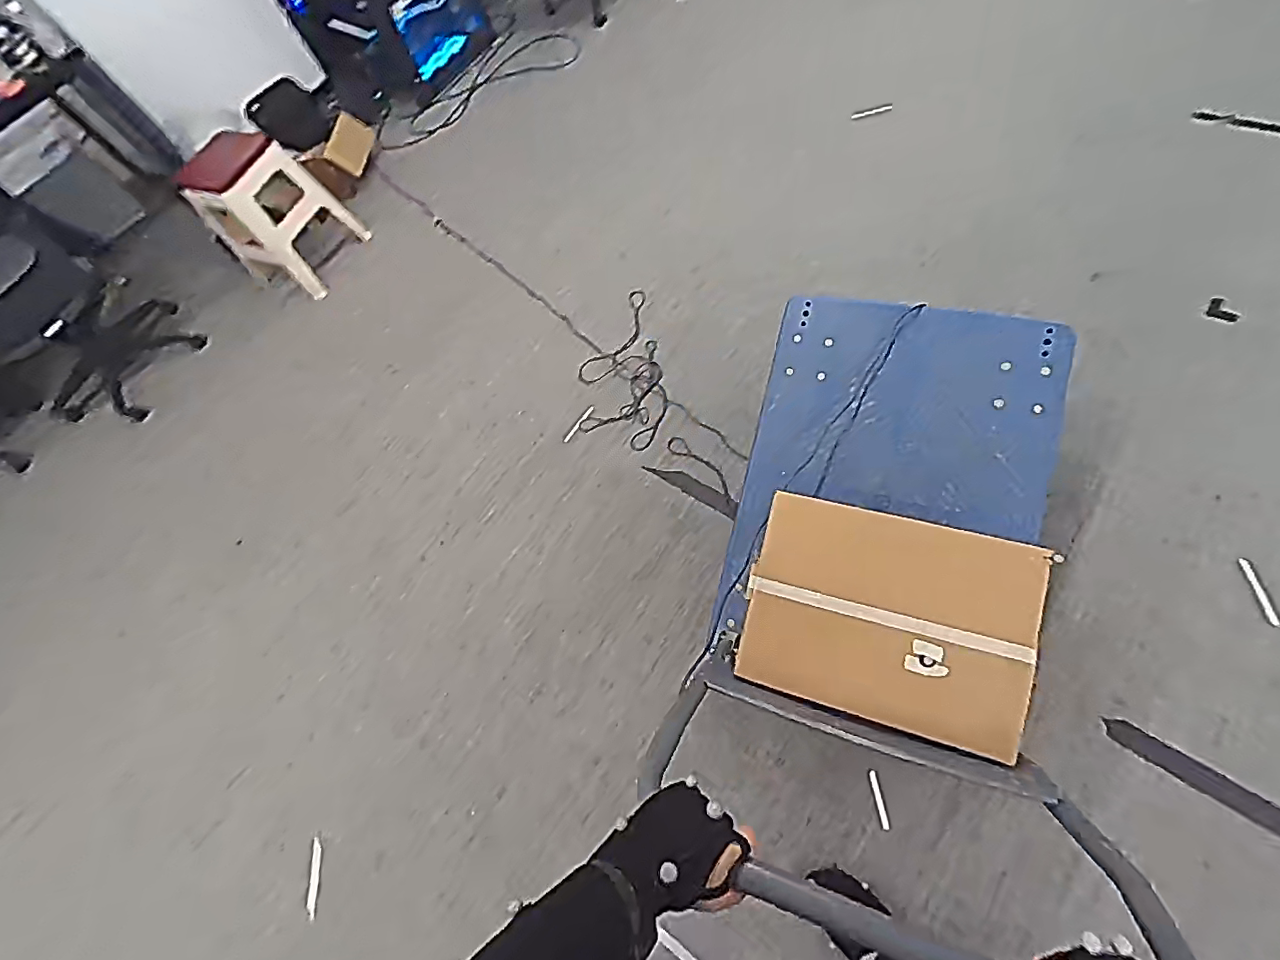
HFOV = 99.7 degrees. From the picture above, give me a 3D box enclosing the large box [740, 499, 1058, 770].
[{"bbox_3d":[0.413,0.239,0.954,0.408,0.320,0.320,13,85,17],"label":"large box"}]
